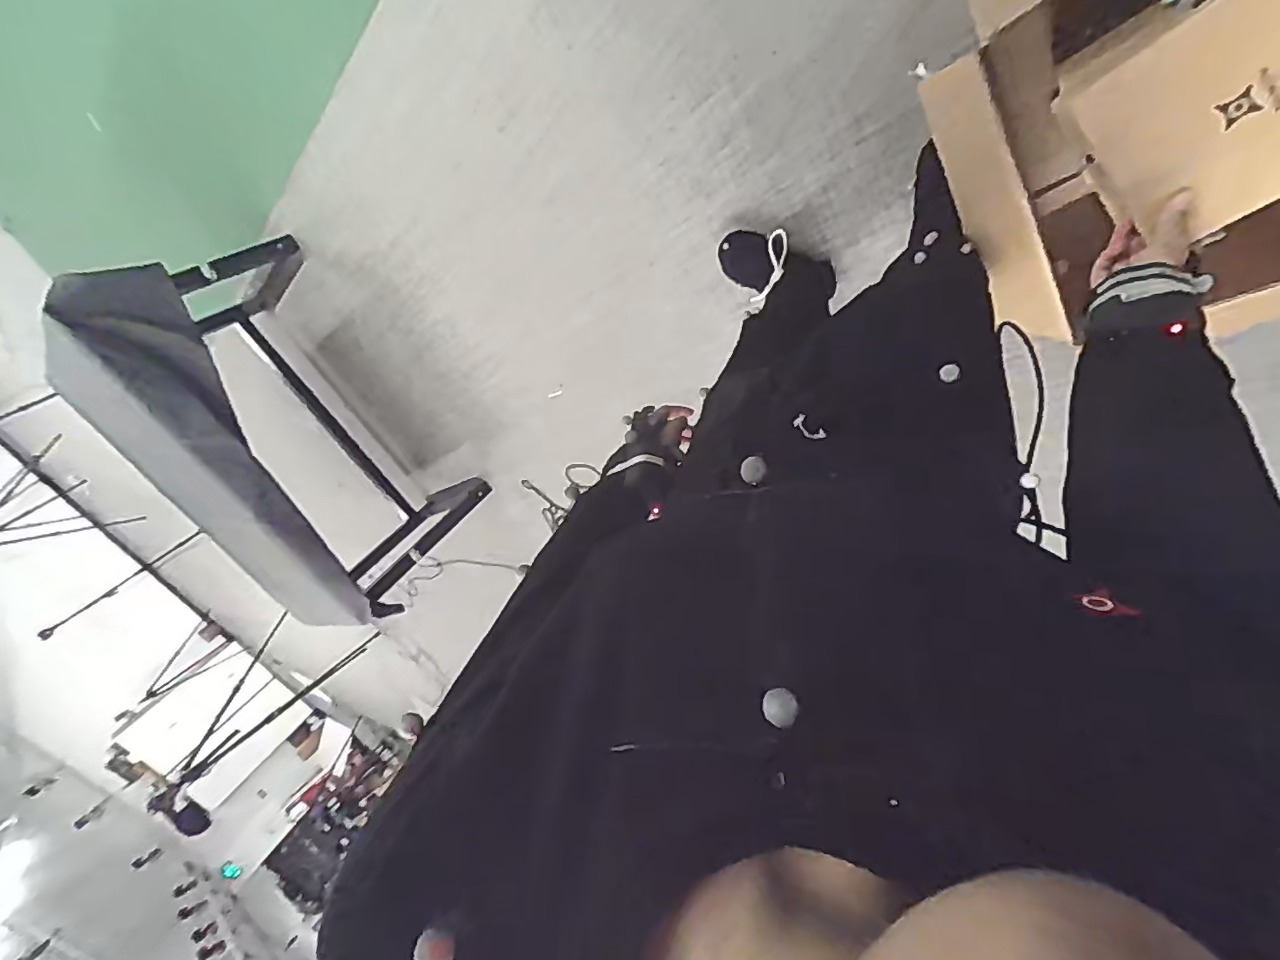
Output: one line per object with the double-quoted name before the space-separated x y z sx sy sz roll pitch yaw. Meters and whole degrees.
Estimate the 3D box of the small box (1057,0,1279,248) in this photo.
"small box" 0.507 -0.341 0.481 0.179 0.176 0.168 -32 100 39

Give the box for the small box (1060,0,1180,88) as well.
"small box" 0.595 -0.448 0.596 0.179 0.176 0.168 -18 117 45
